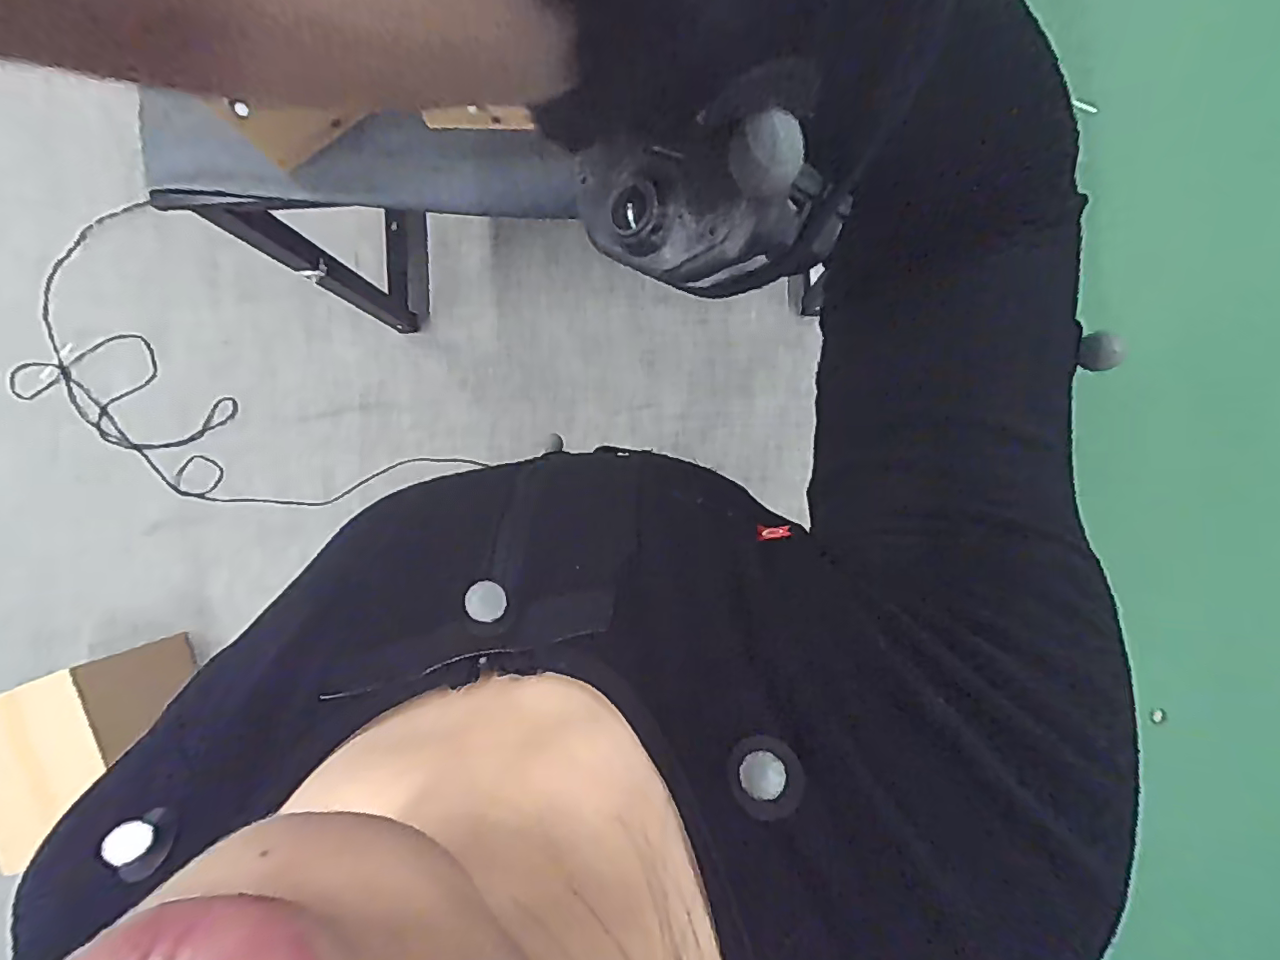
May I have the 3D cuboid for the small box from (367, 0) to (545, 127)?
[{"bbox_3d":[-0.222,-0.596,0.694,0.168,0.176,0.179,2,89,3],"label":"small box"}]
